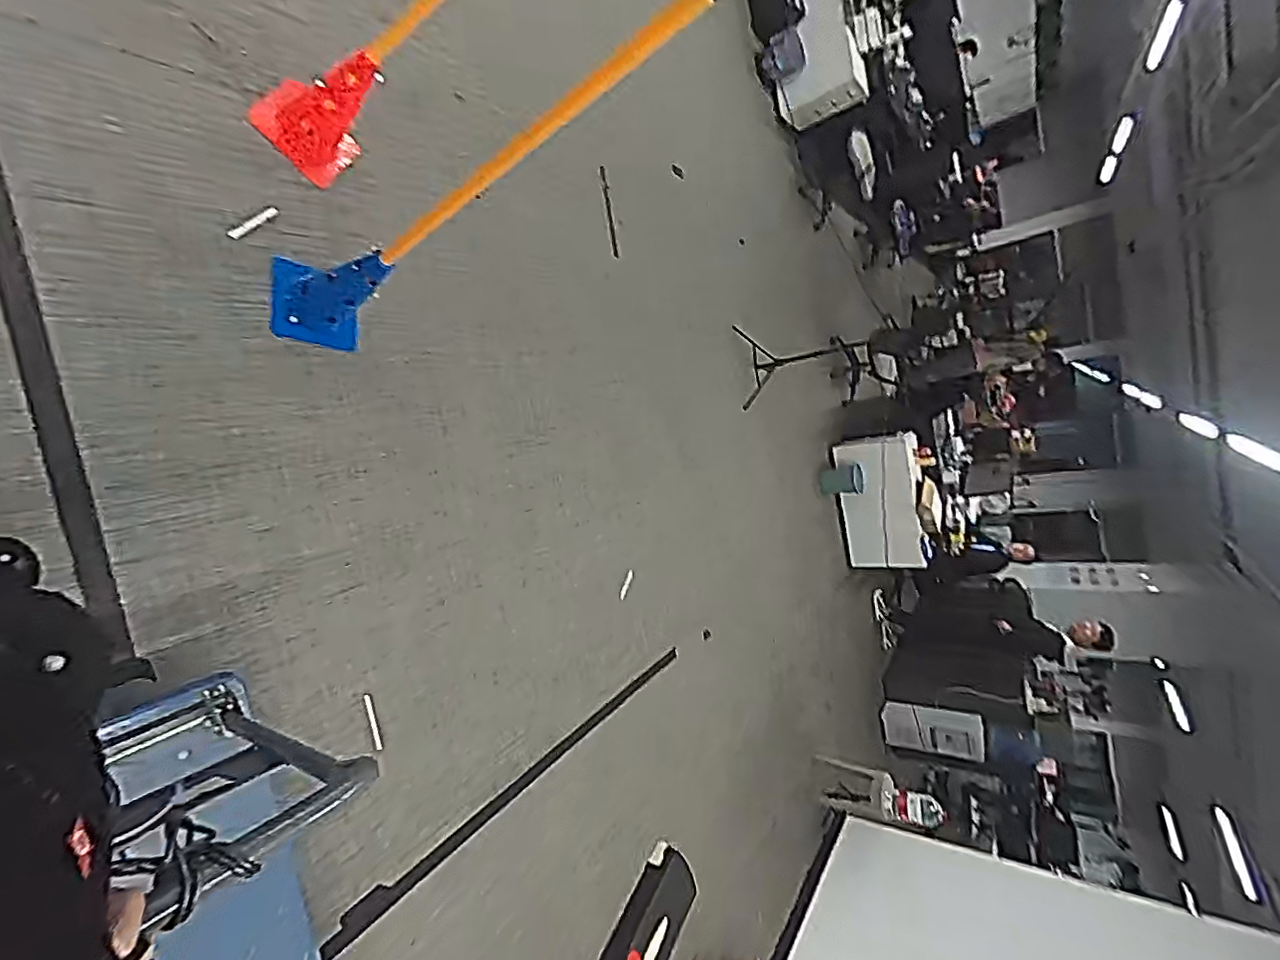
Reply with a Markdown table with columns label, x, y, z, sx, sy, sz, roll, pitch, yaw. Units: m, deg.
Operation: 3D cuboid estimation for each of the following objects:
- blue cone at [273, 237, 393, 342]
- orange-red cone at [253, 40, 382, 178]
| label | x | y | z | sx | sy | sz | roll | pitch | yaw |
| --- | --- | --- | --- | --- | --- | --- | --- | --- | --- |
| blue cone | -0.687 | -0.469 | 1.260 | 0.193 | 0.380 | 0.192 | 7 | 78 | -52 |
| orange-red cone | -0.710 | -0.912 | 1.273 | 0.198 | 0.360 | 0.199 | 46 | 52 | -38 |
